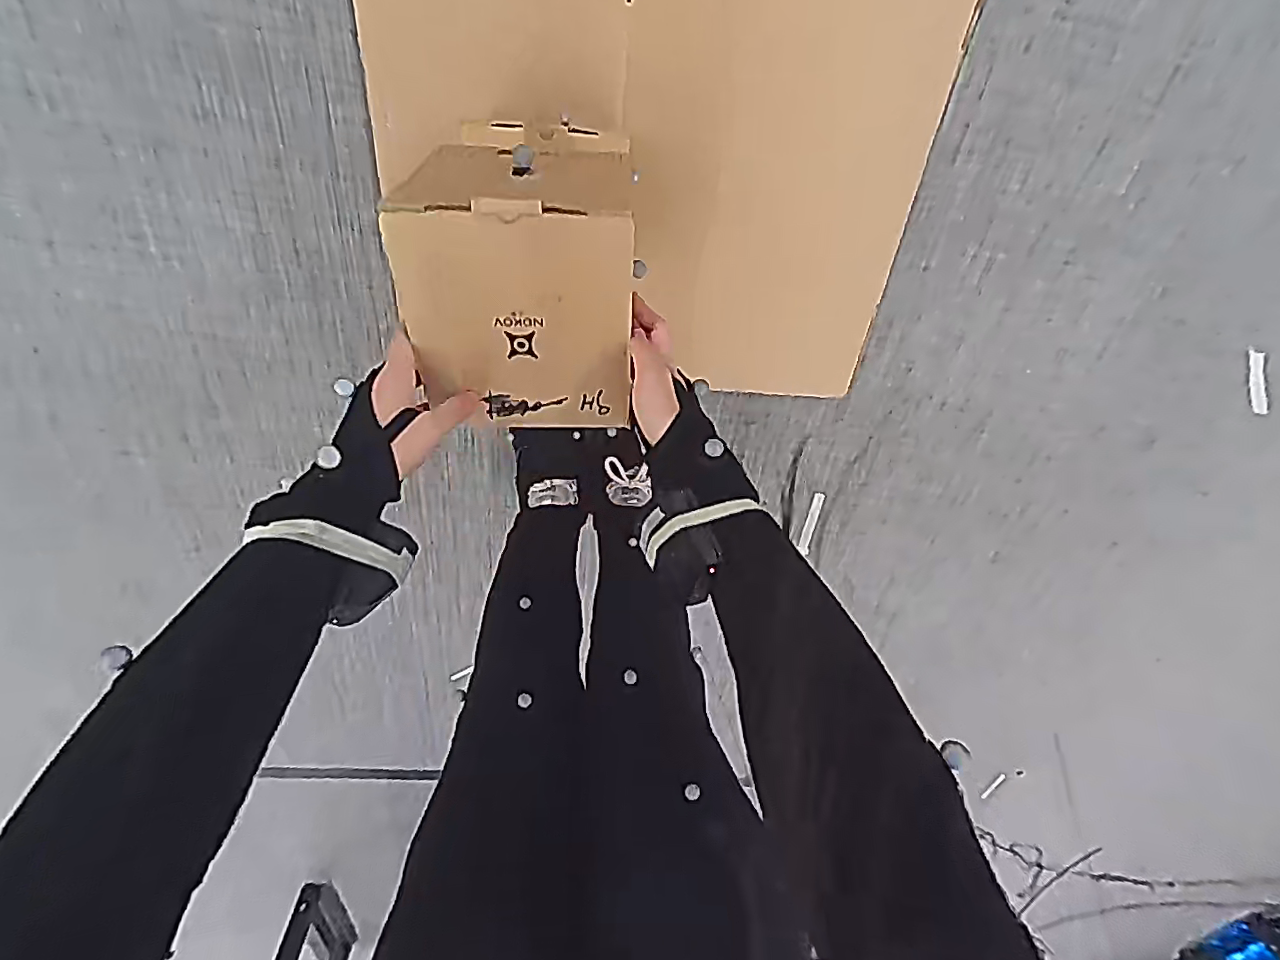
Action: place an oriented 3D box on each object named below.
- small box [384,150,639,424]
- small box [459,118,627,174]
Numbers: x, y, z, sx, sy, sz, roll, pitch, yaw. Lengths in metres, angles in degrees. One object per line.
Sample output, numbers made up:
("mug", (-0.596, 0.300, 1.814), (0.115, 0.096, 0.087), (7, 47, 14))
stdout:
("small box", (-0.090, -0.166, 0.460), (0.168, 0.176, 0.179), (0, 131, -3))
("small box", (-0.103, -0.313, 0.635), (0.168, 0.176, 0.179), (1, 124, -5))
